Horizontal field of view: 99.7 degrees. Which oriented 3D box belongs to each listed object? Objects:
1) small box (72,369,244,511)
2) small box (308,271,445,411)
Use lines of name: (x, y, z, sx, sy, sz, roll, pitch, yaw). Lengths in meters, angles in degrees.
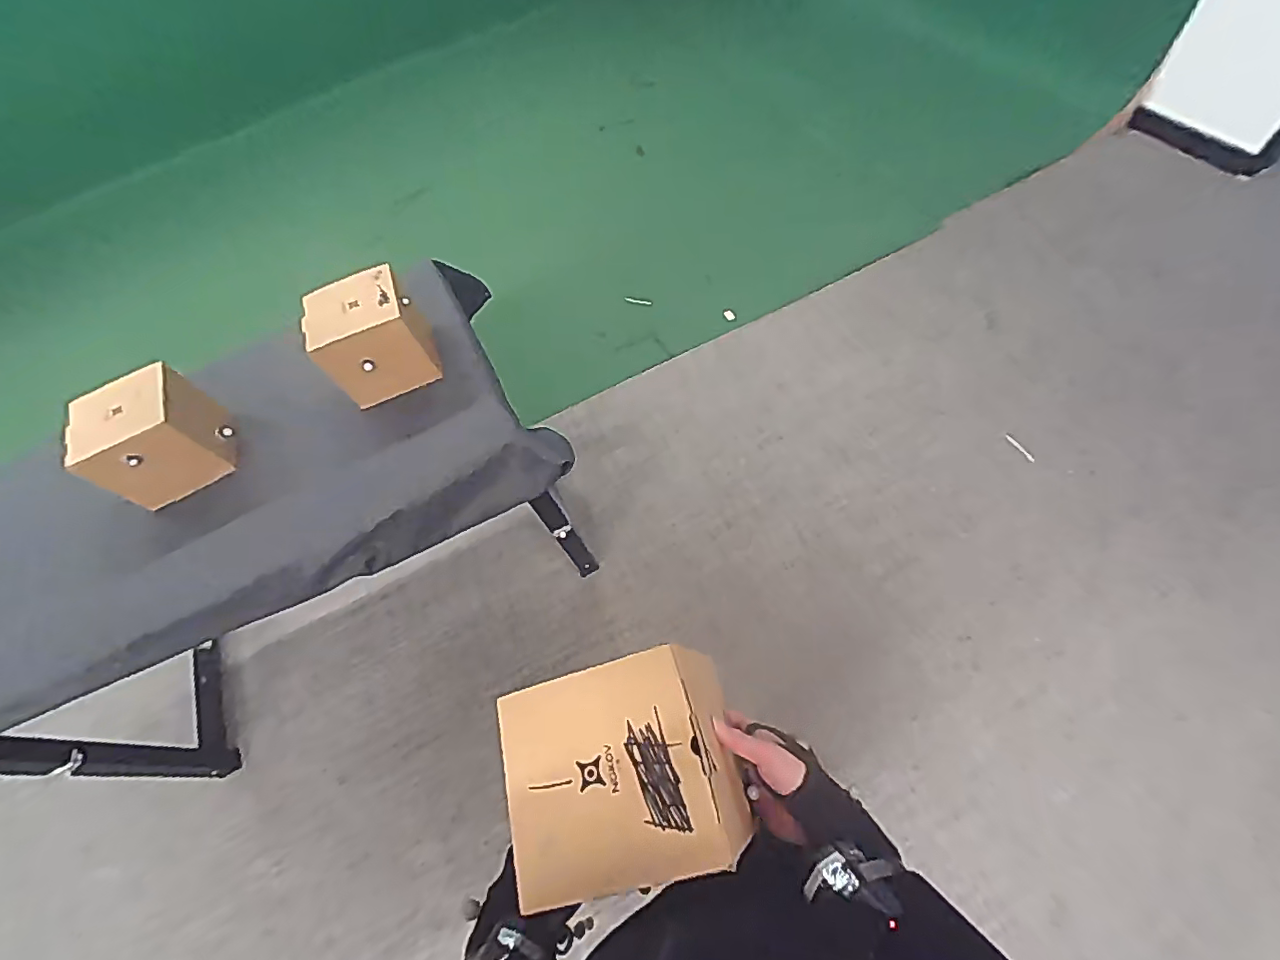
small box: (-0.899, -0.069, 1.022, 0.179, 0.176, 0.168, -28, 61, -7)
small box: (-0.511, -0.264, 1.057, 0.179, 0.176, 0.168, -23, 60, -2)
